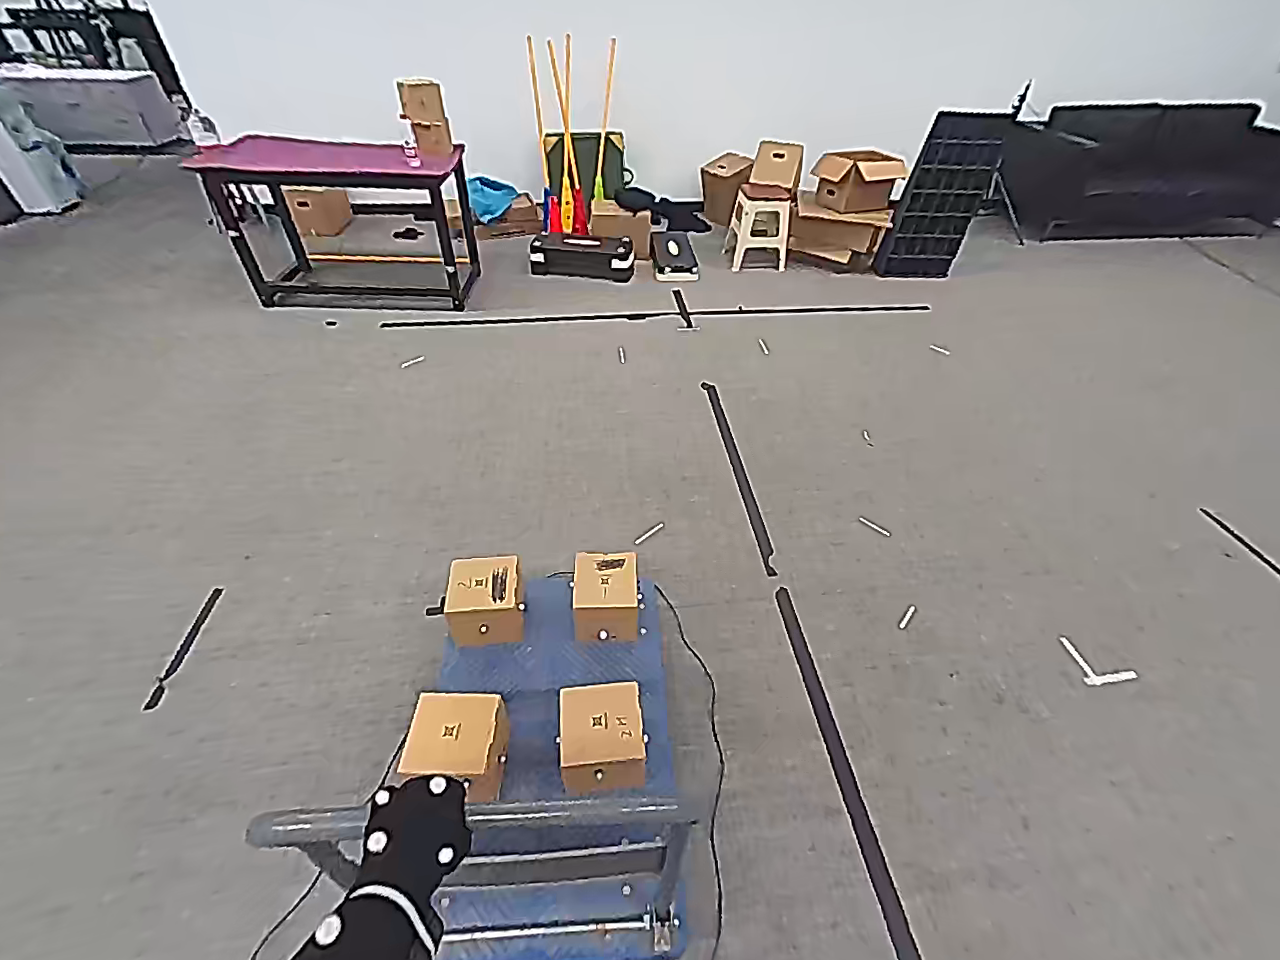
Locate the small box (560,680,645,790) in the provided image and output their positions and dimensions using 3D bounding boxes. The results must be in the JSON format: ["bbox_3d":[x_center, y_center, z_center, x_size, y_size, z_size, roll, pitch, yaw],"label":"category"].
[{"bbox_3d":[-0.083,0.567,1.198,0.179,0.176,0.168,-3,44,-5],"label":"small box"}]

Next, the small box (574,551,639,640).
[{"bbox_3d":[-0.089,0.314,1.468,0.168,0.176,0.179,0,44,-2],"label":"small box"}]

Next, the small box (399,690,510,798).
[{"bbox_3d":[-0.392,0.575,1.175,0.179,0.176,0.168,3,42,-3],"label":"small box"}]
